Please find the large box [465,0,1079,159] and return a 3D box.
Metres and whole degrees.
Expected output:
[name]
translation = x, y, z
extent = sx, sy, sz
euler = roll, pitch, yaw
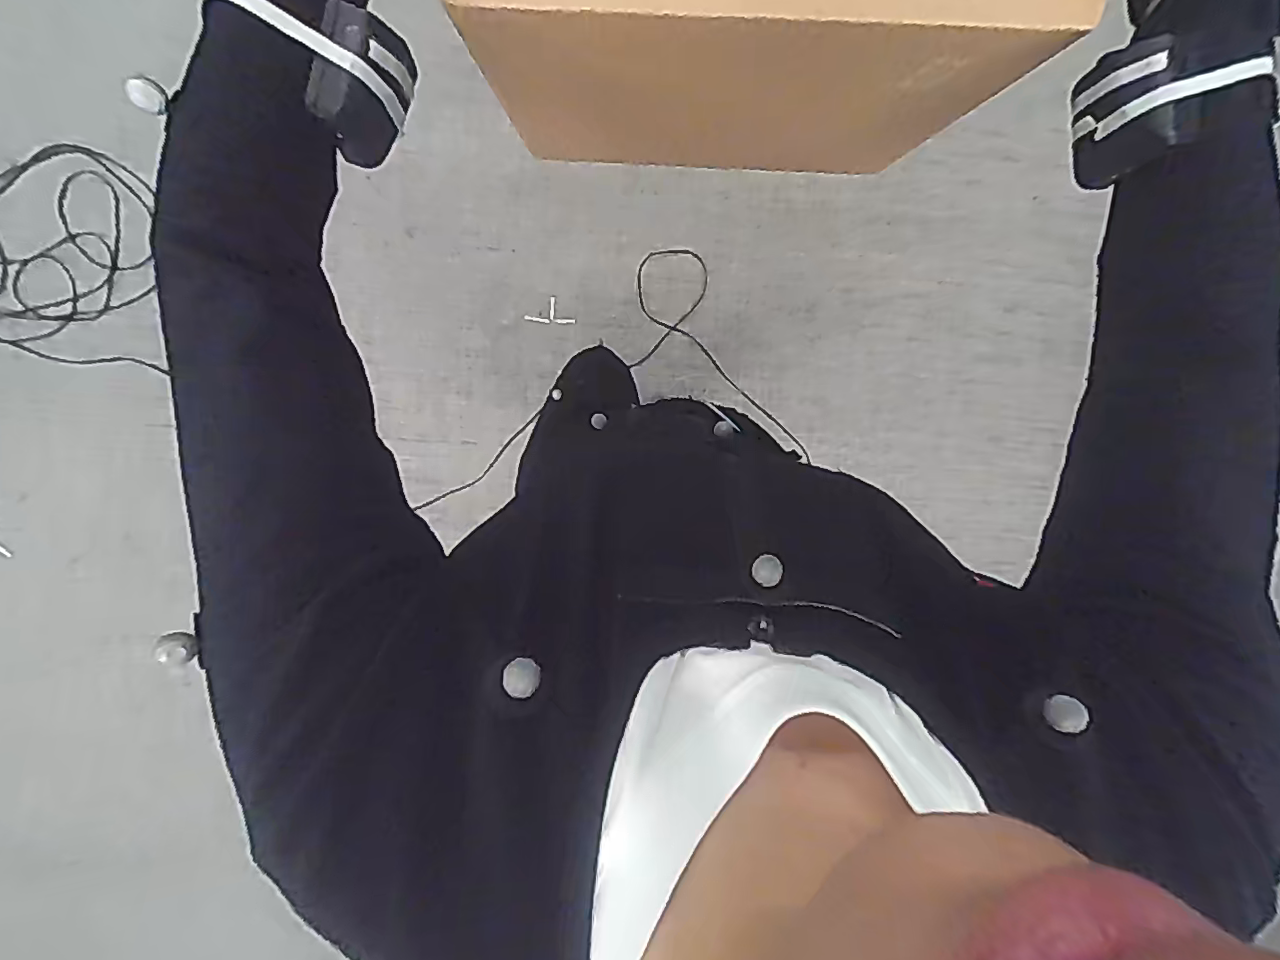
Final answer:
[large box]
translation = 0.080, -0.482, 0.443
extent = 0.408, 0.320, 0.320
euler = 1, 105, -1
